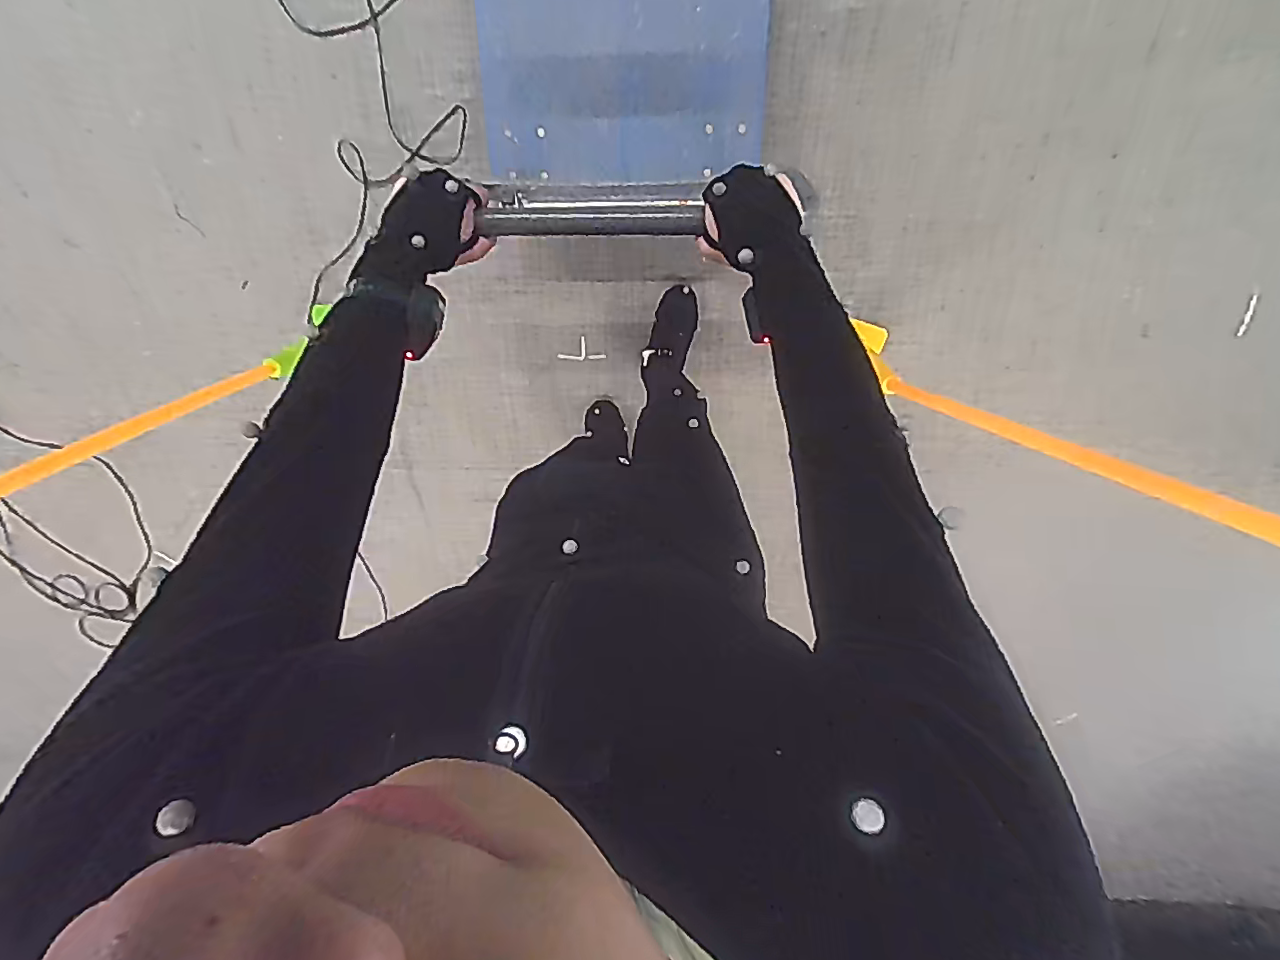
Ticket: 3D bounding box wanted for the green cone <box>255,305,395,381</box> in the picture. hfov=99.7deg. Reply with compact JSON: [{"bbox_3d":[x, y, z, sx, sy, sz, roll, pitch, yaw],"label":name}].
[{"bbox_3d":[-0.799,-0.309,1.333,0.202,0.368,0.200,-2,113,5],"label":"green cone"}]
